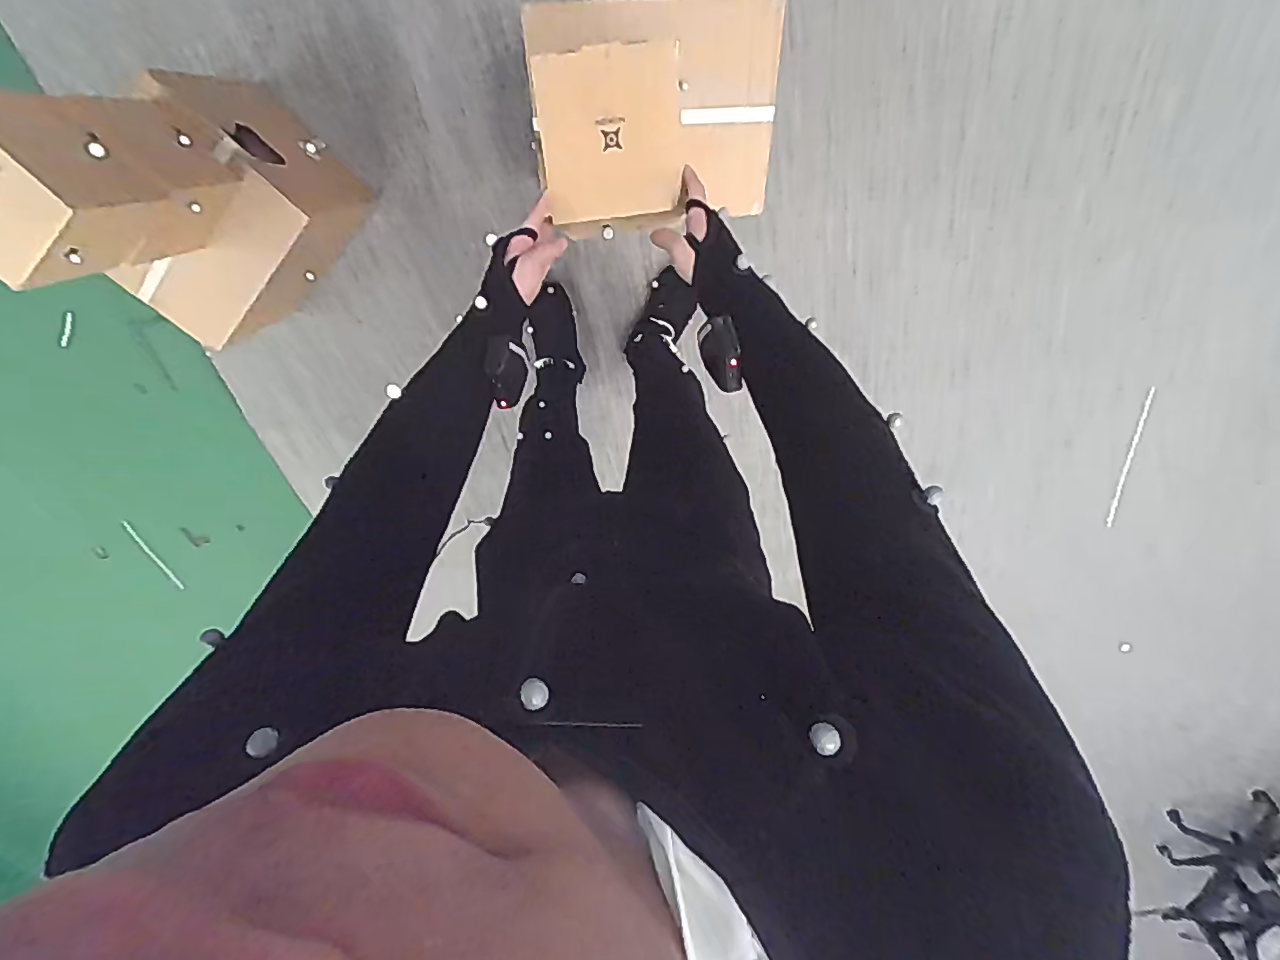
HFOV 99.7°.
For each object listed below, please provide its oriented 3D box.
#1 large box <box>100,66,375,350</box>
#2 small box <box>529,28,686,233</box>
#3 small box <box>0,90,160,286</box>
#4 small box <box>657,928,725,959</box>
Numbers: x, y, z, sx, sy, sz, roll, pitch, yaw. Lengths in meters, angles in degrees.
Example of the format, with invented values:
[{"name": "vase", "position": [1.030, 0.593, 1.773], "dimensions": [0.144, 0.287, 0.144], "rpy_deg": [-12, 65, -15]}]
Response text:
[{"name": "large box", "position": [-0.853, -0.565, 1.145], "dimensions": [0.408, 0.320, 0.320], "rpy_deg": [-37, 114, 24]}, {"name": "small box", "position": [-0.031, -0.423, 0.690], "dimensions": [0.168, 0.176, 0.179], "rpy_deg": [-6, 105, 3]}, {"name": "small box", "position": [-0.843, -0.407, 0.757], "dimensions": [0.179, 0.176, 0.168], "rpy_deg": [-31, 117, 20]}, {"name": "small box", "position": [0.164, 1.592, 1.756], "dimensions": [0.179, 0.176, 0.168], "rpy_deg": [26, 121, -15]}]
